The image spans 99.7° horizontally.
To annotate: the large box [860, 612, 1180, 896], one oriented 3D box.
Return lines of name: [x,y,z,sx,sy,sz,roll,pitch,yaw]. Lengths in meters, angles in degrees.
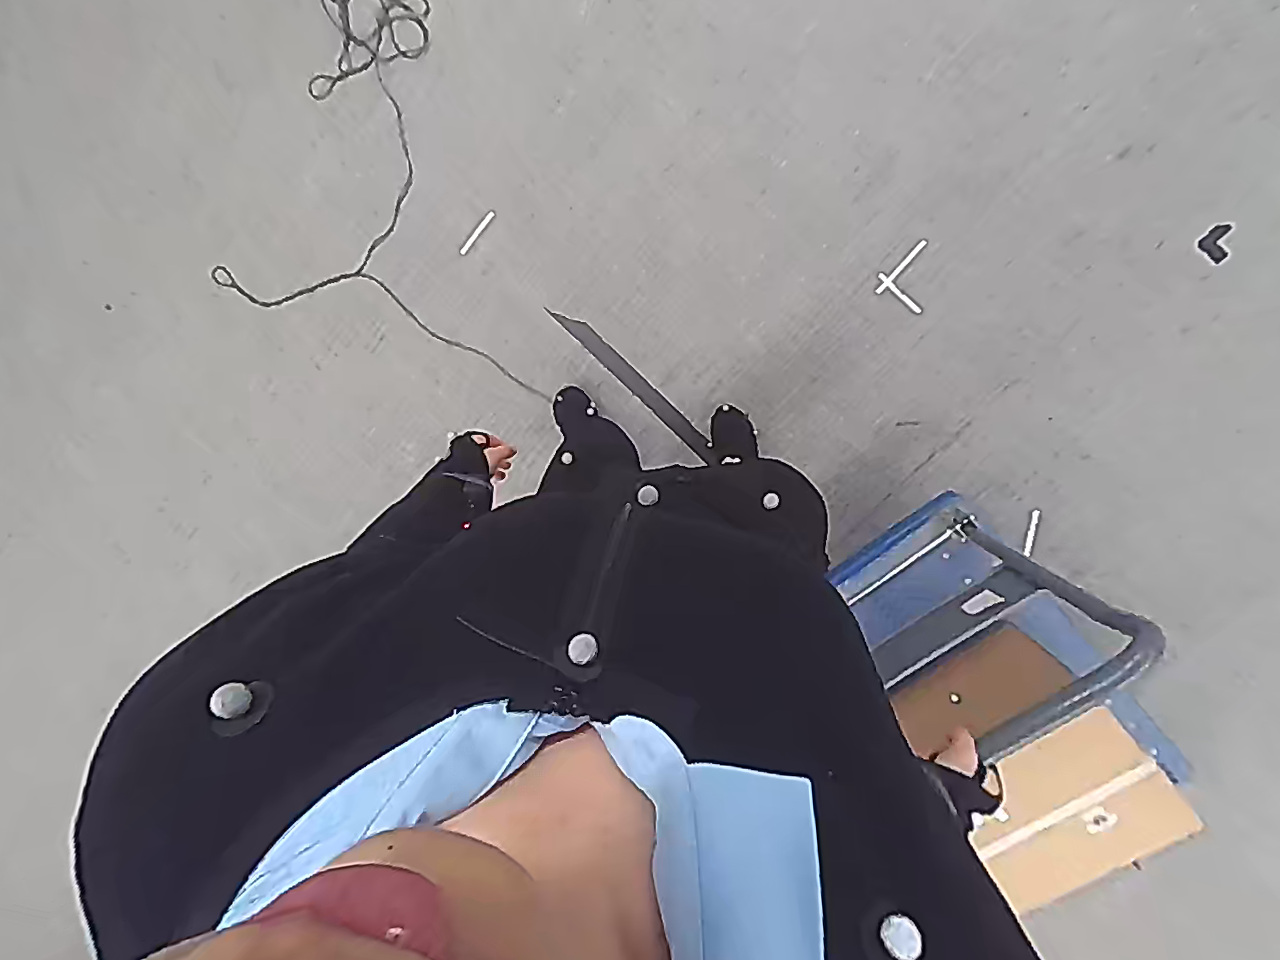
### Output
large box: [0.768,0.566,1.173,0.408,0.320,0.320,-40,93,12]
